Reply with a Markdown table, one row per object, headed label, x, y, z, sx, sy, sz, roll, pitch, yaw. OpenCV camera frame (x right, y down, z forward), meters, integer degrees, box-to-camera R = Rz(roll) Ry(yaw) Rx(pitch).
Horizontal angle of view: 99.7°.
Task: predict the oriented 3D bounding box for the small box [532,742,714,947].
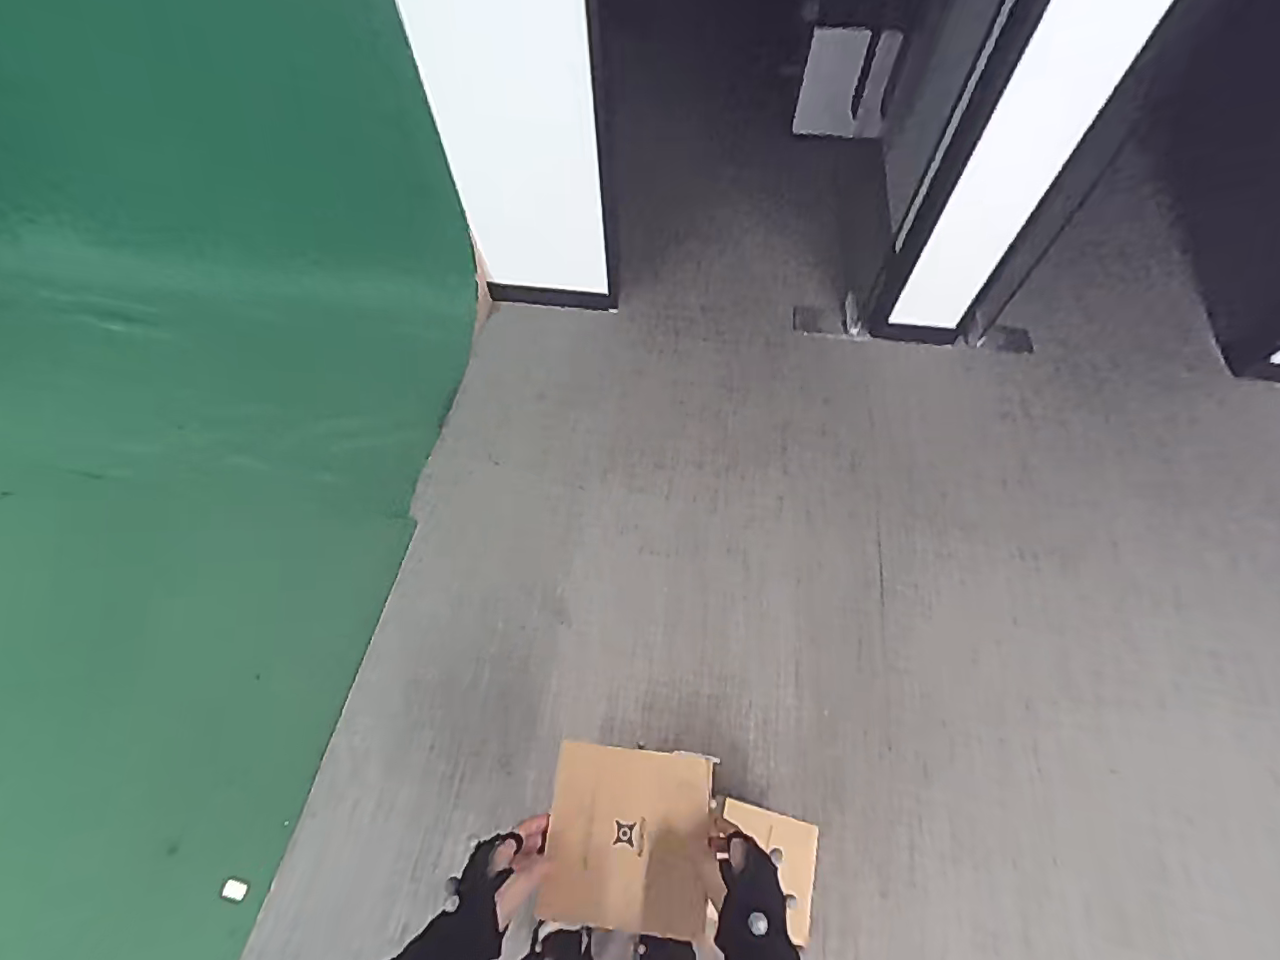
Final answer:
| label | x | y | z | sx | sy | sz | roll | pitch | yaw |
| --- | --- | --- | --- | --- | --- | --- | --- | --- | --- |
| small box | -0.013 | 0.417 | 0.642 | 0.179 | 0.176 | 0.168 | 5 | 60 | 4 |

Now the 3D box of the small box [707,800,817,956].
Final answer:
| label | x | y | z | sx | sy | sz | roll | pitch | yaw |
| --- | --- | --- | --- | --- | --- | --- | --- | --- | --- |
| small box | 0.205 | 0.698 | 0.972 | 0.168 | 0.176 | 0.179 | 14 | 62 | 8 |
